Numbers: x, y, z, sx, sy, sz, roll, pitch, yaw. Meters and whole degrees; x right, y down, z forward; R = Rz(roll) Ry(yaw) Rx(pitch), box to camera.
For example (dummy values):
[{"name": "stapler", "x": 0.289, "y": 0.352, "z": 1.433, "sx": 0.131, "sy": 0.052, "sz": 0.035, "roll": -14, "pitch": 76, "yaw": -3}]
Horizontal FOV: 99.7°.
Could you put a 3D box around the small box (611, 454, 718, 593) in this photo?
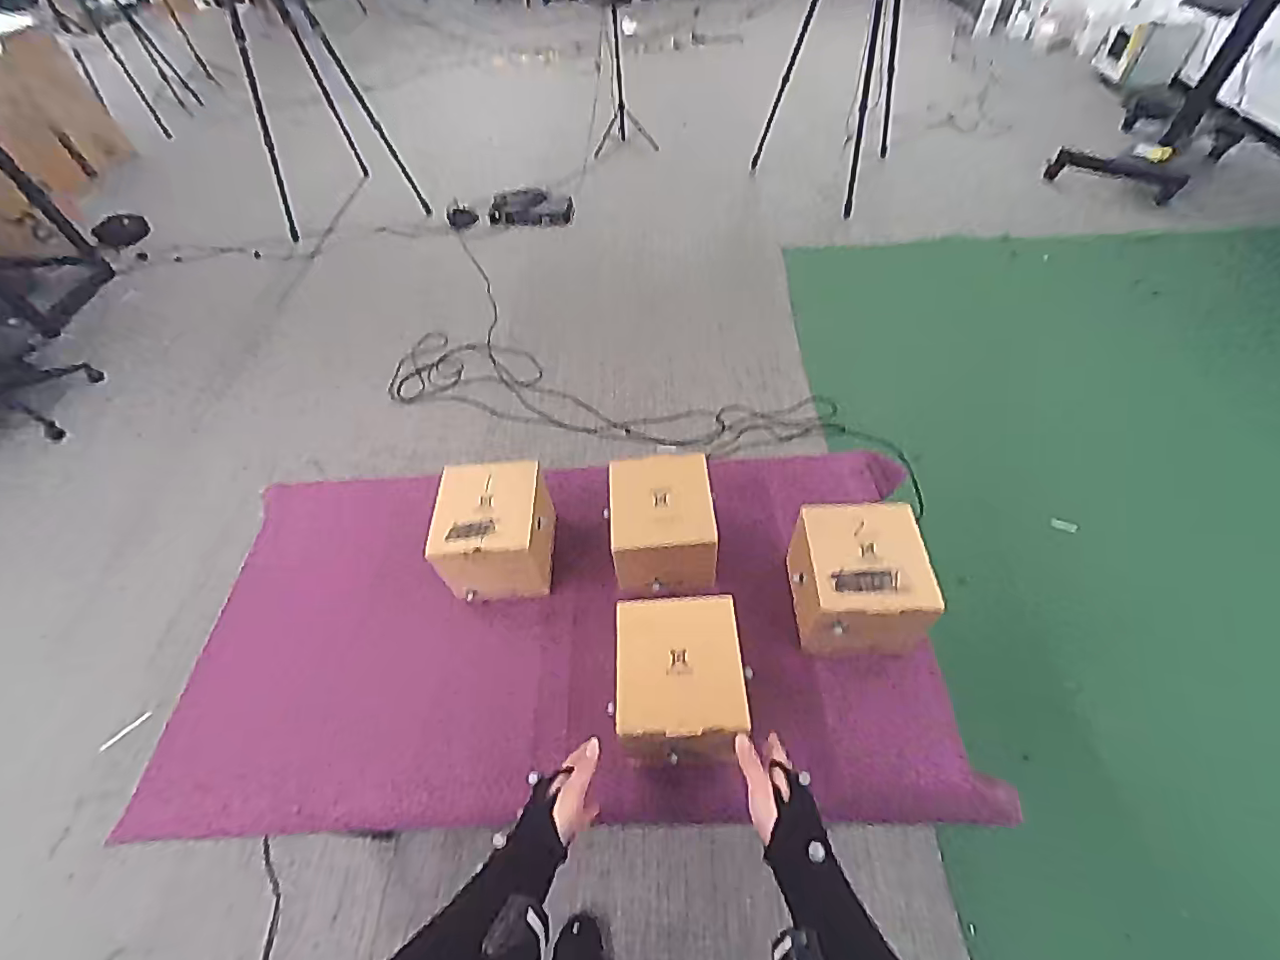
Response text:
[{"name": "small box", "x": 0.039, "y": 0.077, "z": 0.935, "sx": 0.168, "sy": 0.176, "sz": 0.179, "roll": -4, "pitch": 54, "yaw": 2}]

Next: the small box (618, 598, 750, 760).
[{"name": "small box", "x": 0.056, "y": 0.287, "z": 0.774, "sx": 0.168, "sy": 0.176, "sz": 0.179, "roll": -3, "pitch": 53, "yaw": 1}]

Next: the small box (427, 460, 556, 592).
[{"name": "small box", "x": -0.246, "y": 0.087, "z": 0.943, "sx": 0.168, "sy": 0.176, "sz": 0.179, "roll": -3, "pitch": 52, "yaw": 1}]
